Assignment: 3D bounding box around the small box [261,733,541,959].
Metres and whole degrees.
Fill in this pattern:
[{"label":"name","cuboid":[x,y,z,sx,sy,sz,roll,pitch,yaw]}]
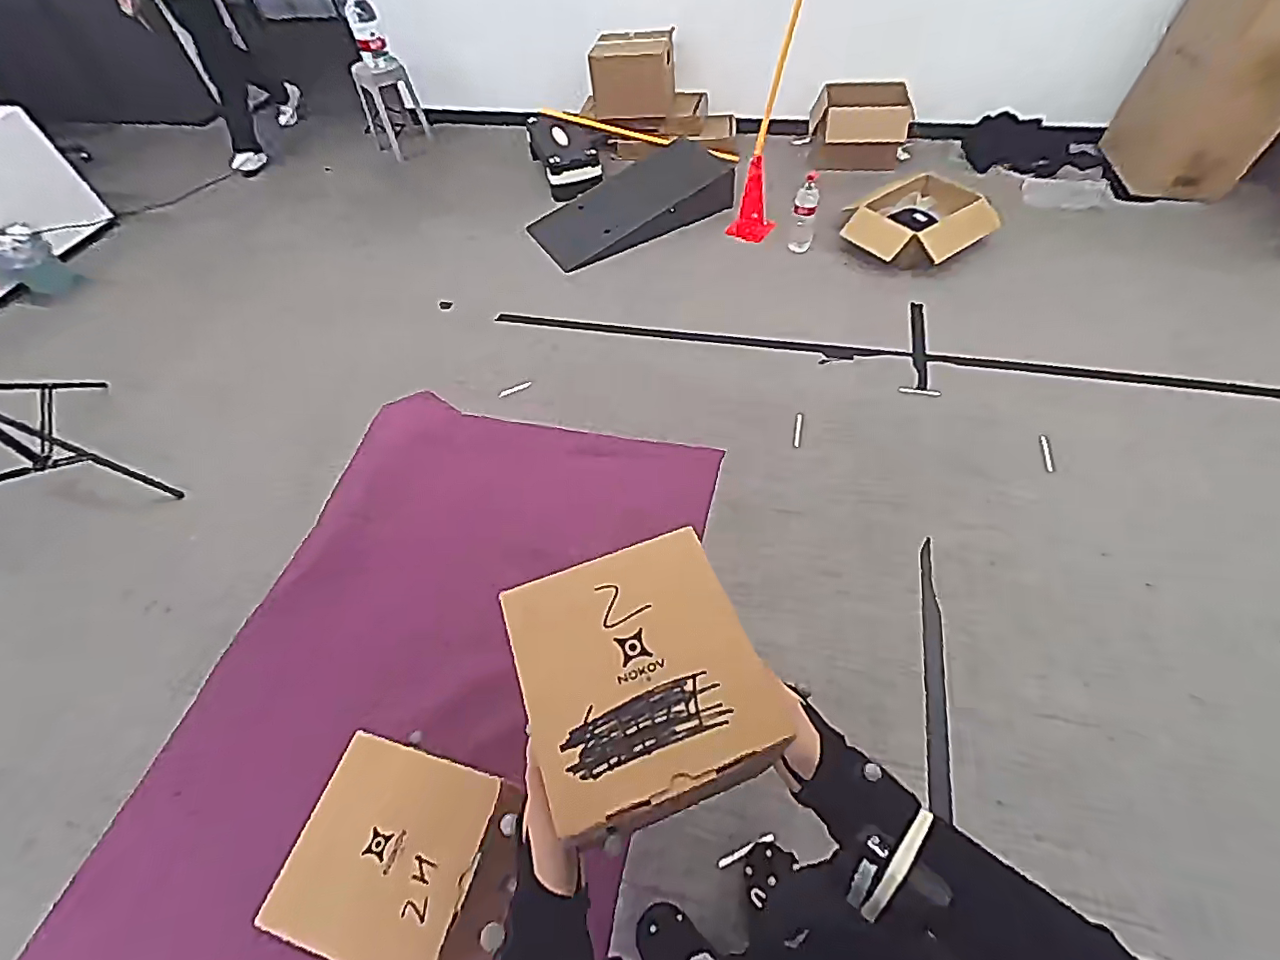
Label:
[{"label":"small box","cuboid":[-0.227,0.390,0.566,0.179,0.176,0.168,11,56,13]}]
